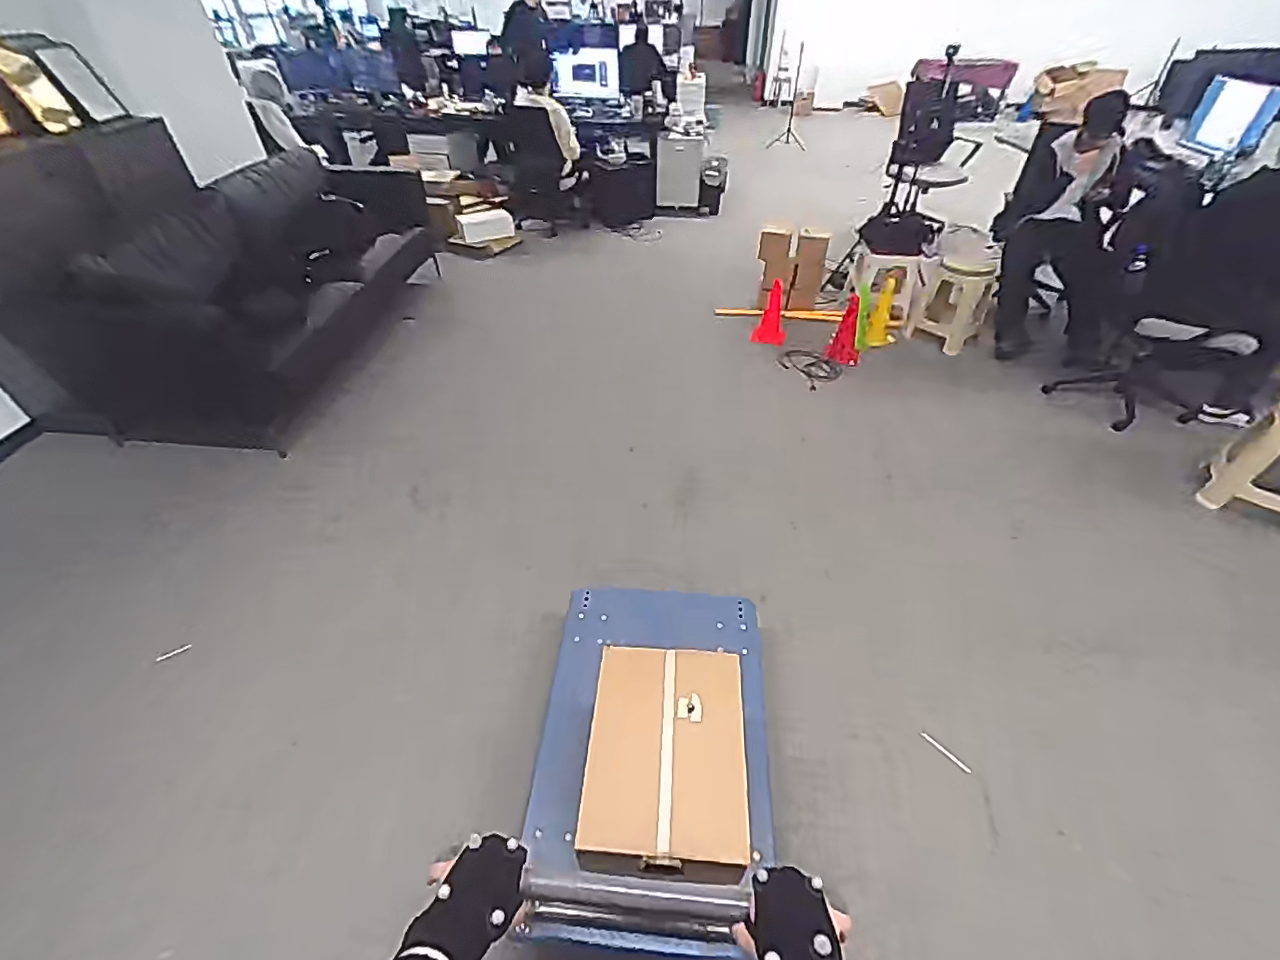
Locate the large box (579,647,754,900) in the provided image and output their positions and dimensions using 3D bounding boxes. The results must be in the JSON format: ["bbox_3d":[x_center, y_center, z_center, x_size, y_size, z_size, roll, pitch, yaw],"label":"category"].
[{"bbox_3d":[0.060,0.631,1.181,0.320,0.320,0.408,3,42,4],"label":"large box"}]
